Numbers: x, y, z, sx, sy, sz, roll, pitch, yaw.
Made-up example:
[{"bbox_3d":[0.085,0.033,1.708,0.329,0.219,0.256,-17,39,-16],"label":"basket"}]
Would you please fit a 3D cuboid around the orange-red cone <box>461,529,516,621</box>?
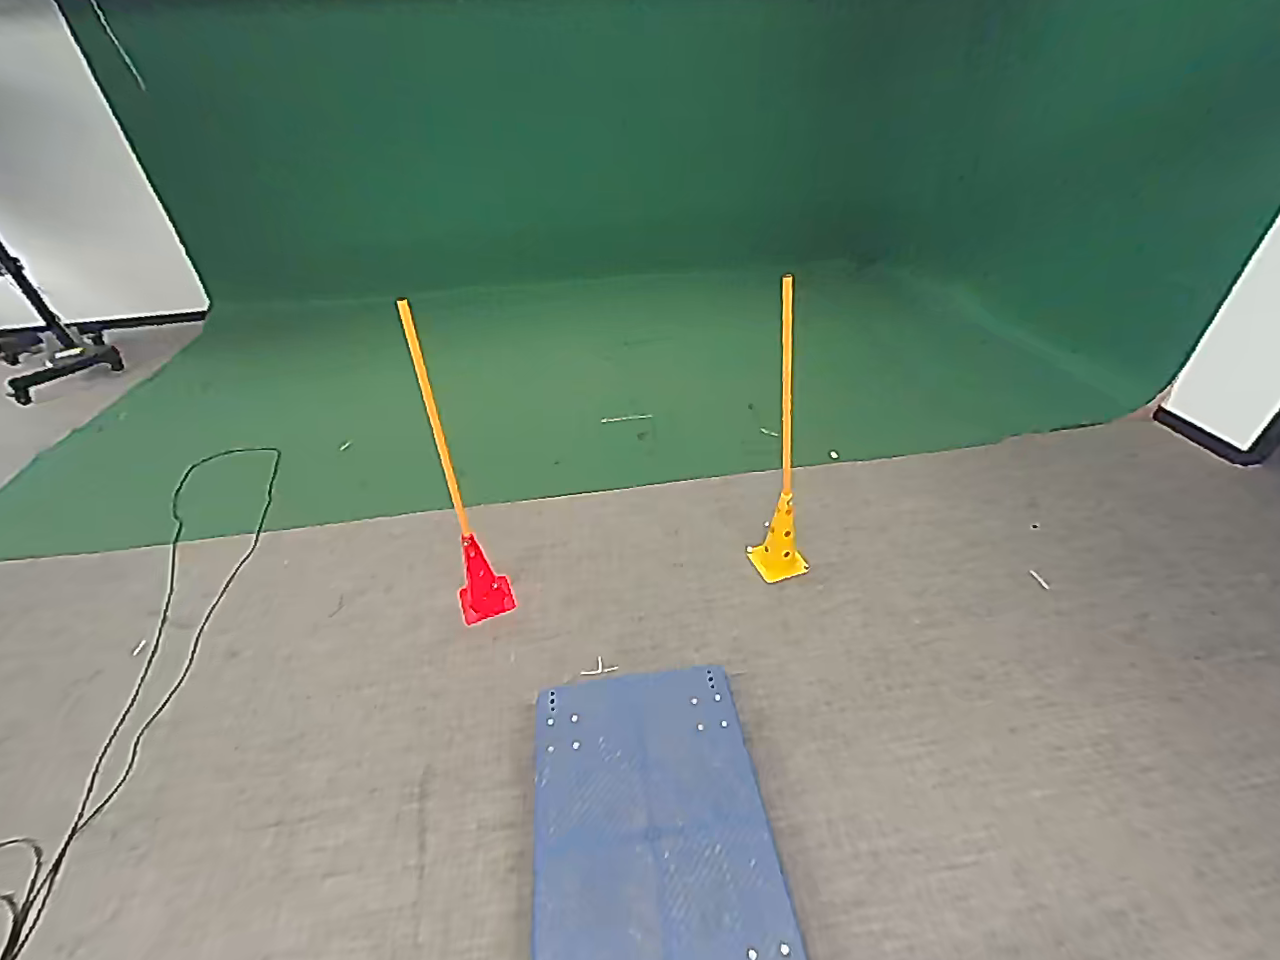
[{"bbox_3d":[-0.611,0.328,2.037,0.199,0.360,0.198,-17,39,-15],"label":"orange-red cone"}]
